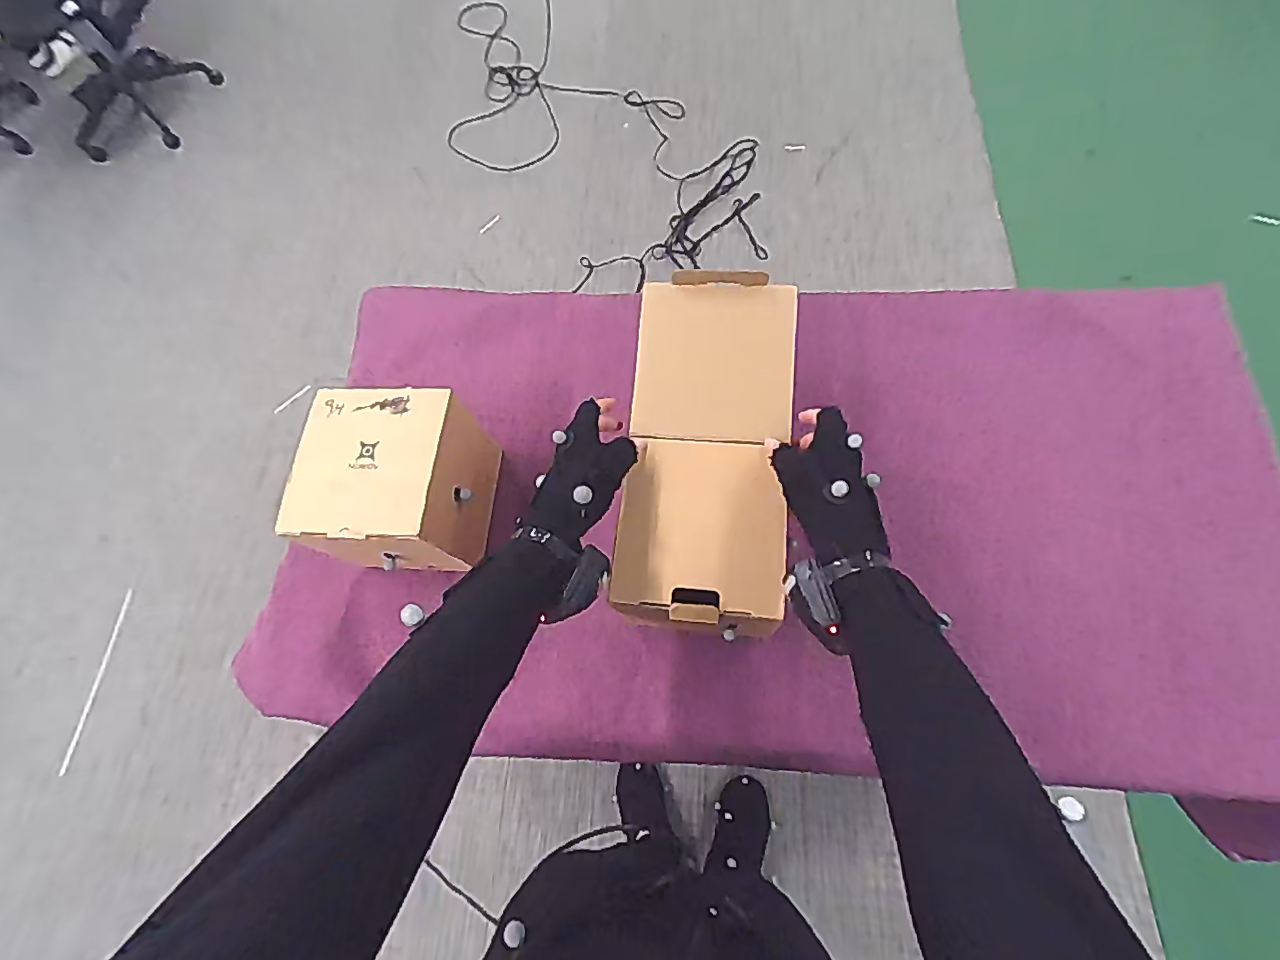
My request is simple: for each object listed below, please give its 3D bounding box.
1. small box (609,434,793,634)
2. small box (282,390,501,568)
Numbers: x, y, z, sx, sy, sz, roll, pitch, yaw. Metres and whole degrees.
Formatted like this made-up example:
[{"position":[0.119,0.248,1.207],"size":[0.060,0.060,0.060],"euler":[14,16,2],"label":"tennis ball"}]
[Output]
[{"position":[0.071,0.067,0.594],"size":[0.168,0.176,0.179],"euler":[4,69,9],"label":"small box"},{"position":[-0.283,0.006,0.661],"size":[0.168,0.176,0.179],"euler":[1,70,7],"label":"small box"}]
